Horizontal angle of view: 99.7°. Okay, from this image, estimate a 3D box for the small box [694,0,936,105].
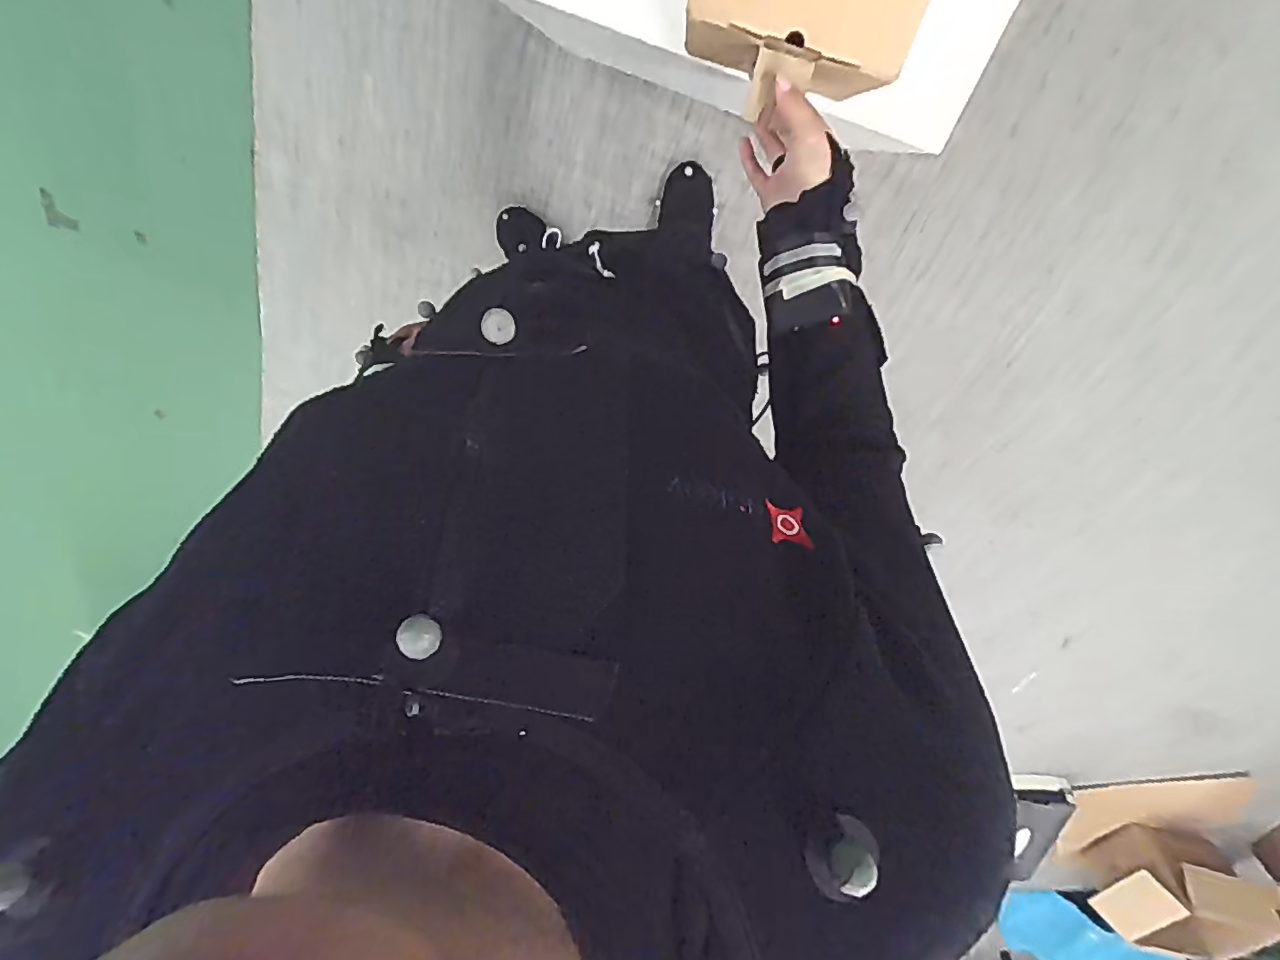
[{"bbox_3d":[0.142,-0.424,0.424,0.168,0.176,0.179,14,121,-4],"label":"small box"}]
